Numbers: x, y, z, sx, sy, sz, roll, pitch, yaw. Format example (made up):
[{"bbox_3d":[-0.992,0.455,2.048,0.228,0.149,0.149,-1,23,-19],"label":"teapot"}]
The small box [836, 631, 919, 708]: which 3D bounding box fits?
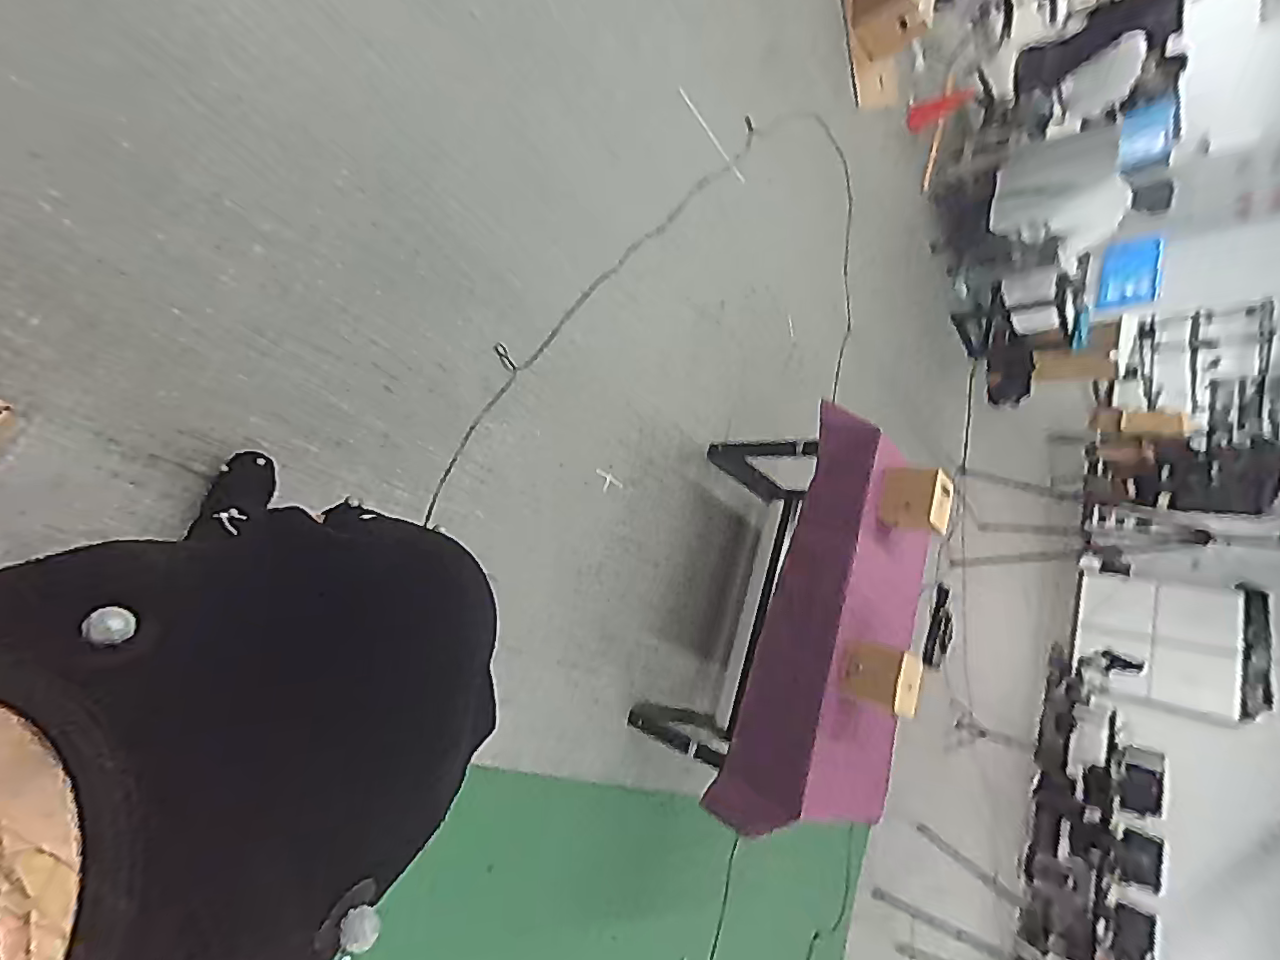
[{"bbox_3d":[0.730,0.578,1.661,0.179,0.176,0.168,34,69,-40],"label":"small box"}]
